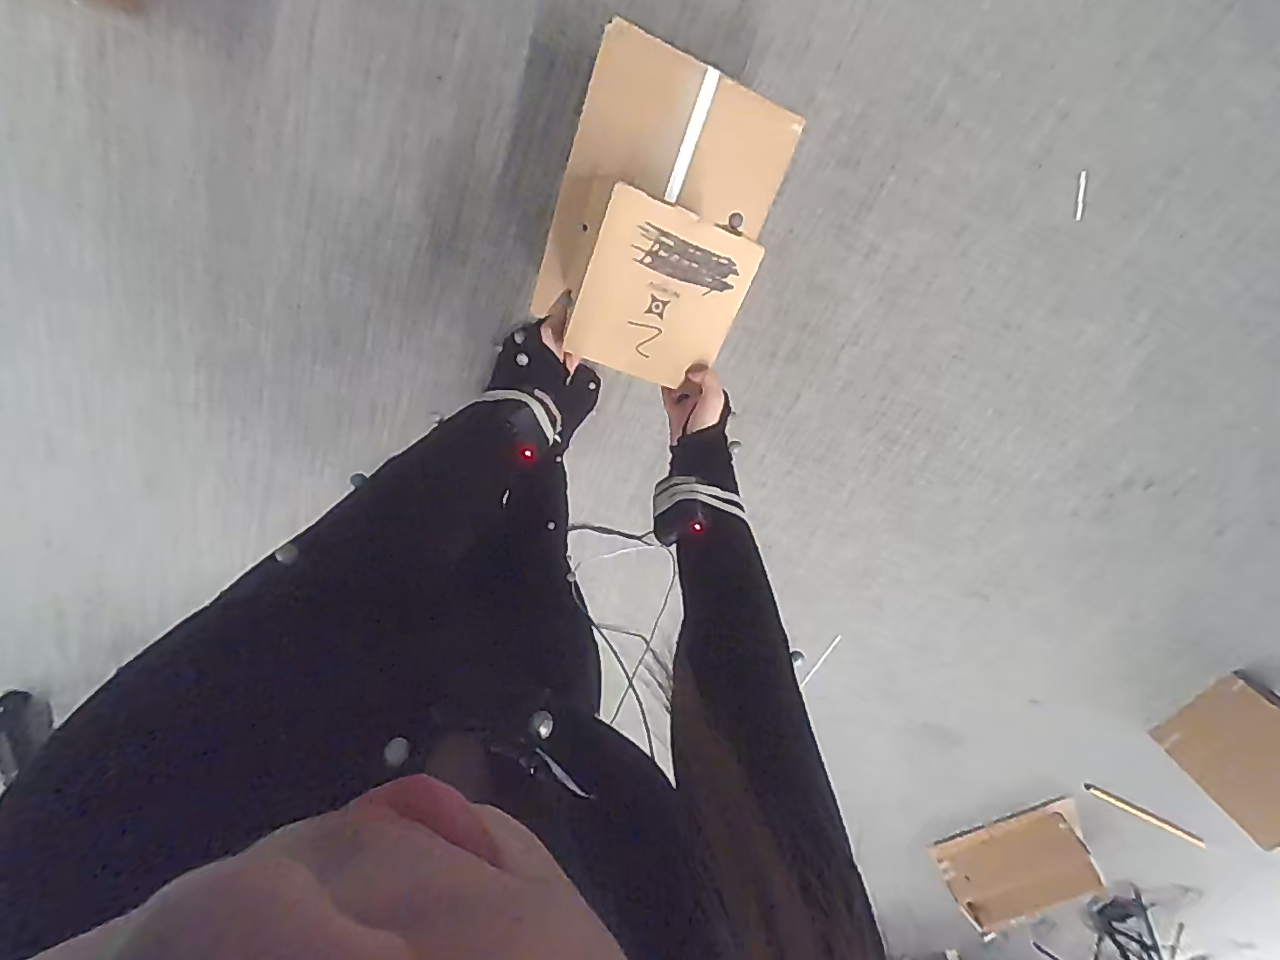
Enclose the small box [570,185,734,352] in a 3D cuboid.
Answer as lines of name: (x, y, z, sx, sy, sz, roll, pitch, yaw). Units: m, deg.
small box: (0.006, -0.309, 0.777, 0.179, 0.176, 0.168, 15, 117, -15)
